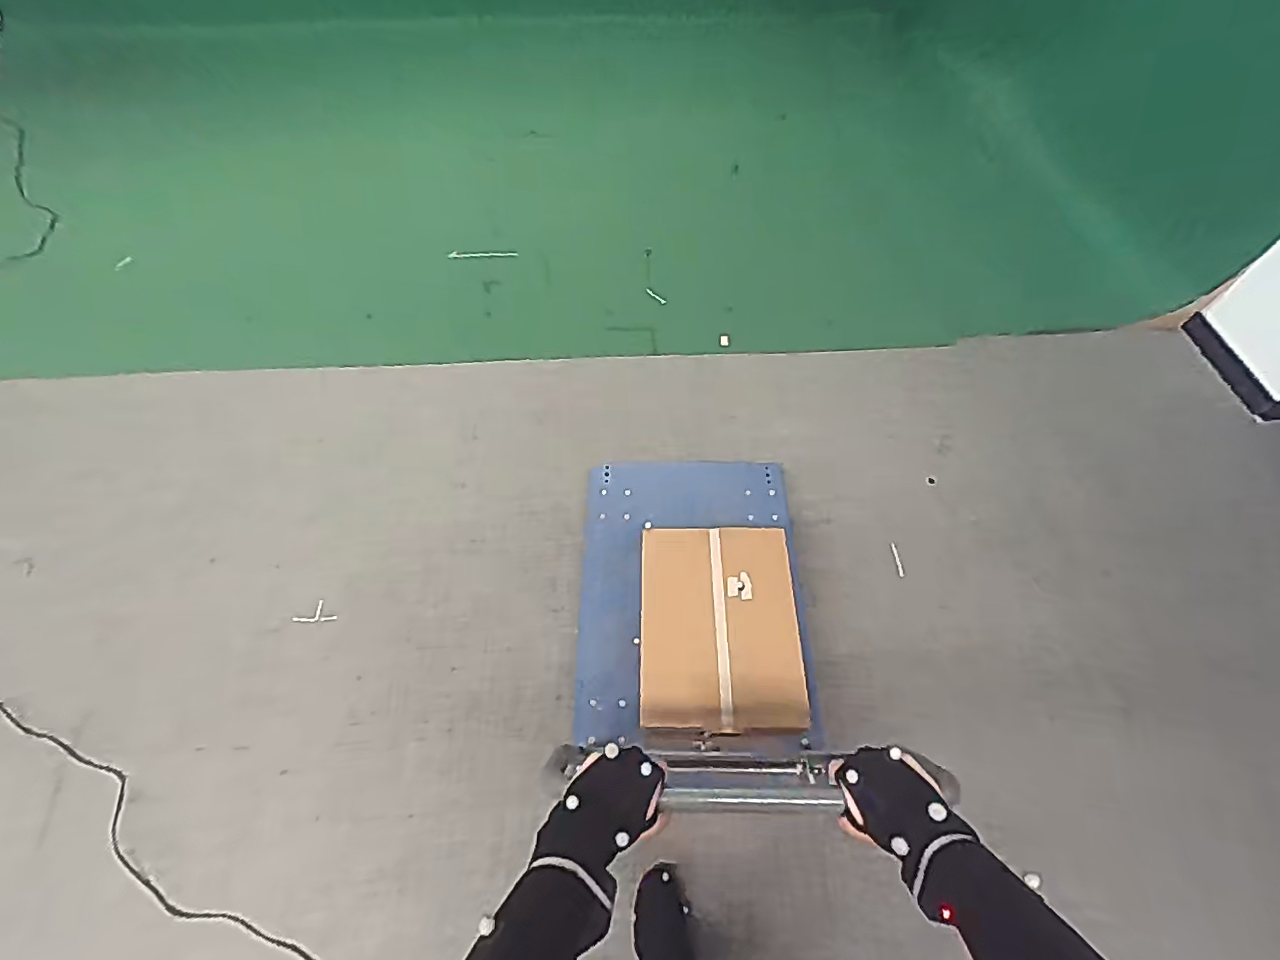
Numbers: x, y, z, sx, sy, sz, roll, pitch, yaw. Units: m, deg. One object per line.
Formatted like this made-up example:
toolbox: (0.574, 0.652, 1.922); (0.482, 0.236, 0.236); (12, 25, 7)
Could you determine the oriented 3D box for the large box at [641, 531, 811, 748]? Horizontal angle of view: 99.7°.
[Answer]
large box: (0.162, 0.363, 1.215); (0.320, 0.320, 0.408); (0, 57, 0)
